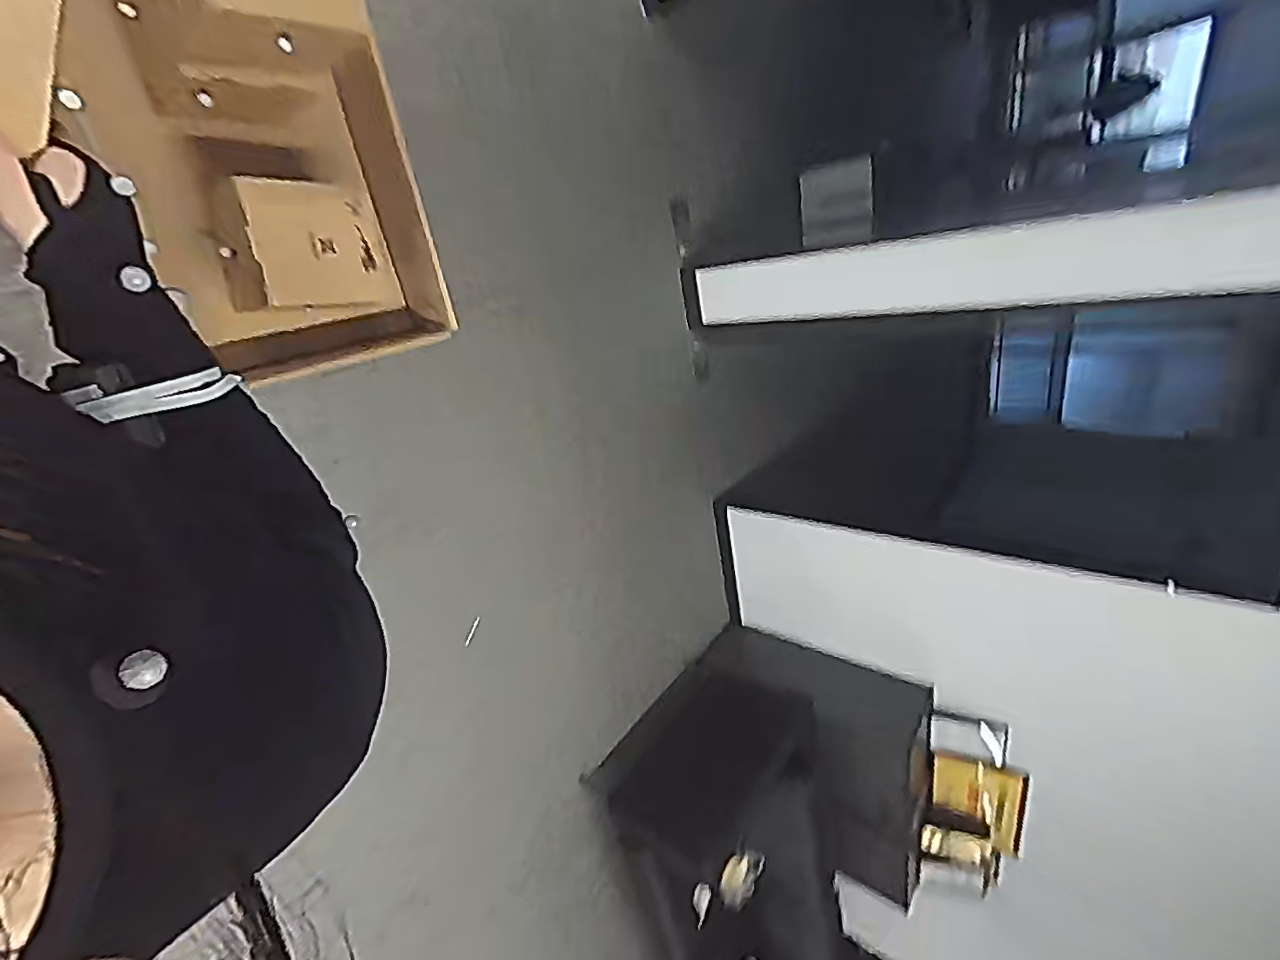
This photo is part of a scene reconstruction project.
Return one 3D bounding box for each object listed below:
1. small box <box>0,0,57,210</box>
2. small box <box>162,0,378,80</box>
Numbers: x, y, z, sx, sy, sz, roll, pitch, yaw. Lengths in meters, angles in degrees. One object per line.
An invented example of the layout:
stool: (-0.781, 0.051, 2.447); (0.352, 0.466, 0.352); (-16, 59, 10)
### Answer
small box: (-0.480, -0.288, 0.327); (0.168, 0.176, 0.179); (4, 98, -48)
small box: (-0.443, -0.589, 0.621); (0.179, 0.176, 0.168); (-31, 120, -42)
